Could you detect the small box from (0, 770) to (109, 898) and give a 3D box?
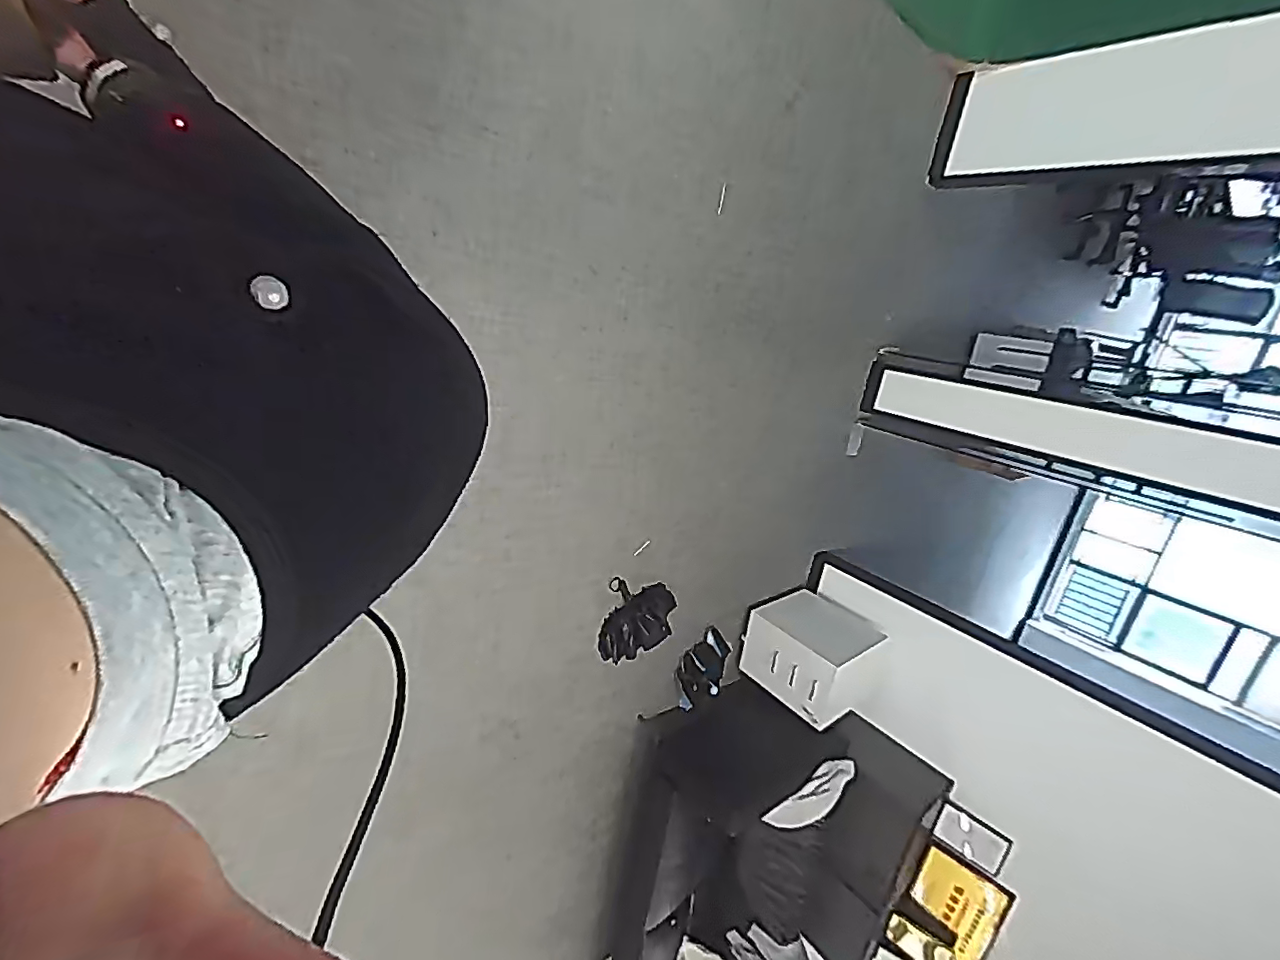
[{"bbox_3d":[-1.387,0.811,1.248,0.179,0.176,0.168,-49,133,-13],"label":"small box"}]
